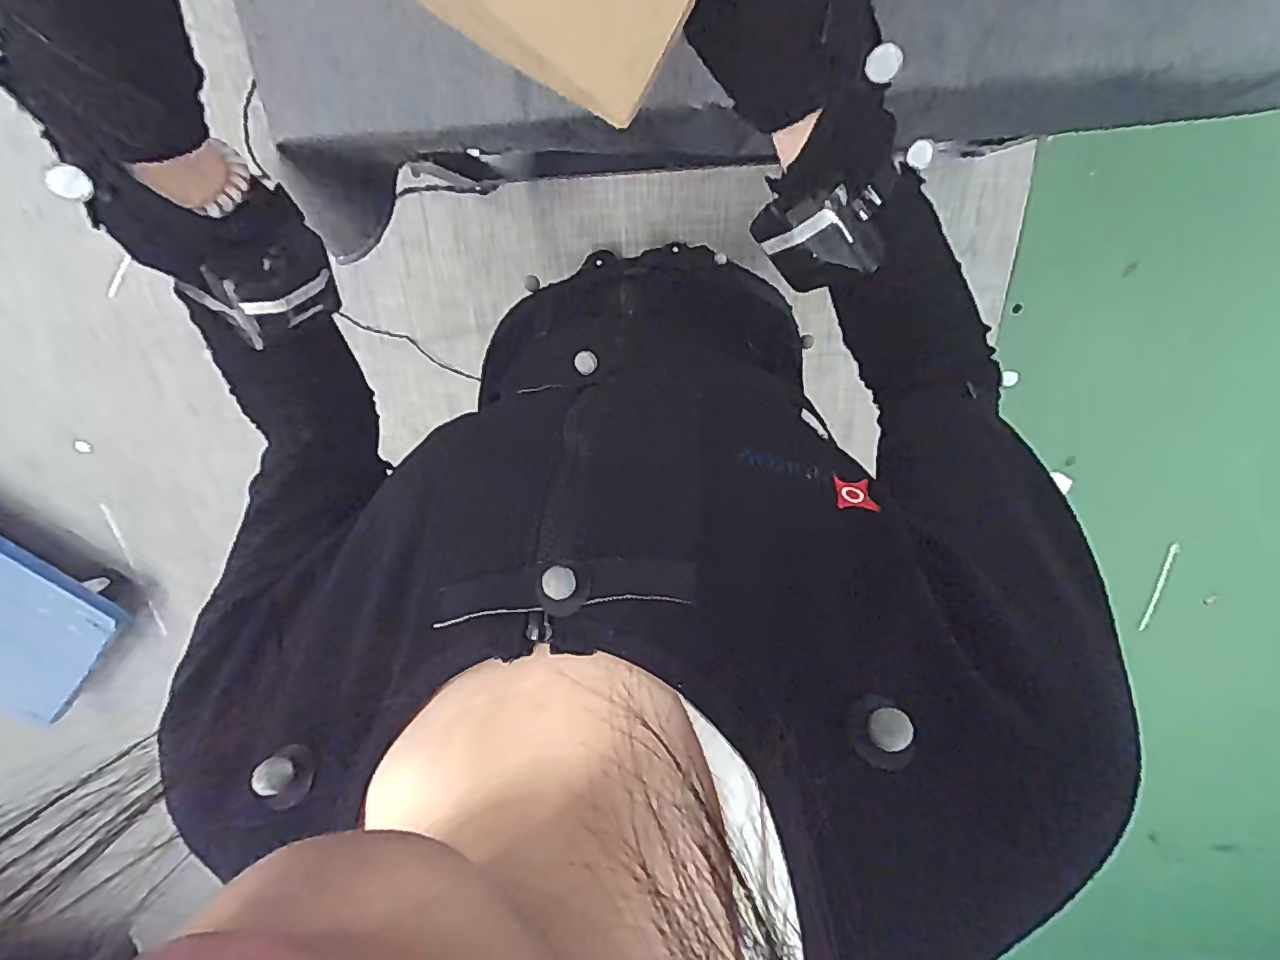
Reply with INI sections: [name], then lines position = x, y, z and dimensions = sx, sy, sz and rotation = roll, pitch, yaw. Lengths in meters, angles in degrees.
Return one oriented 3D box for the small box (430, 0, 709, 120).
[small box]
position = -0.053, -0.268, 0.167
dimensions = 0.168, 0.176, 0.179
rotation = 44, 114, 22
